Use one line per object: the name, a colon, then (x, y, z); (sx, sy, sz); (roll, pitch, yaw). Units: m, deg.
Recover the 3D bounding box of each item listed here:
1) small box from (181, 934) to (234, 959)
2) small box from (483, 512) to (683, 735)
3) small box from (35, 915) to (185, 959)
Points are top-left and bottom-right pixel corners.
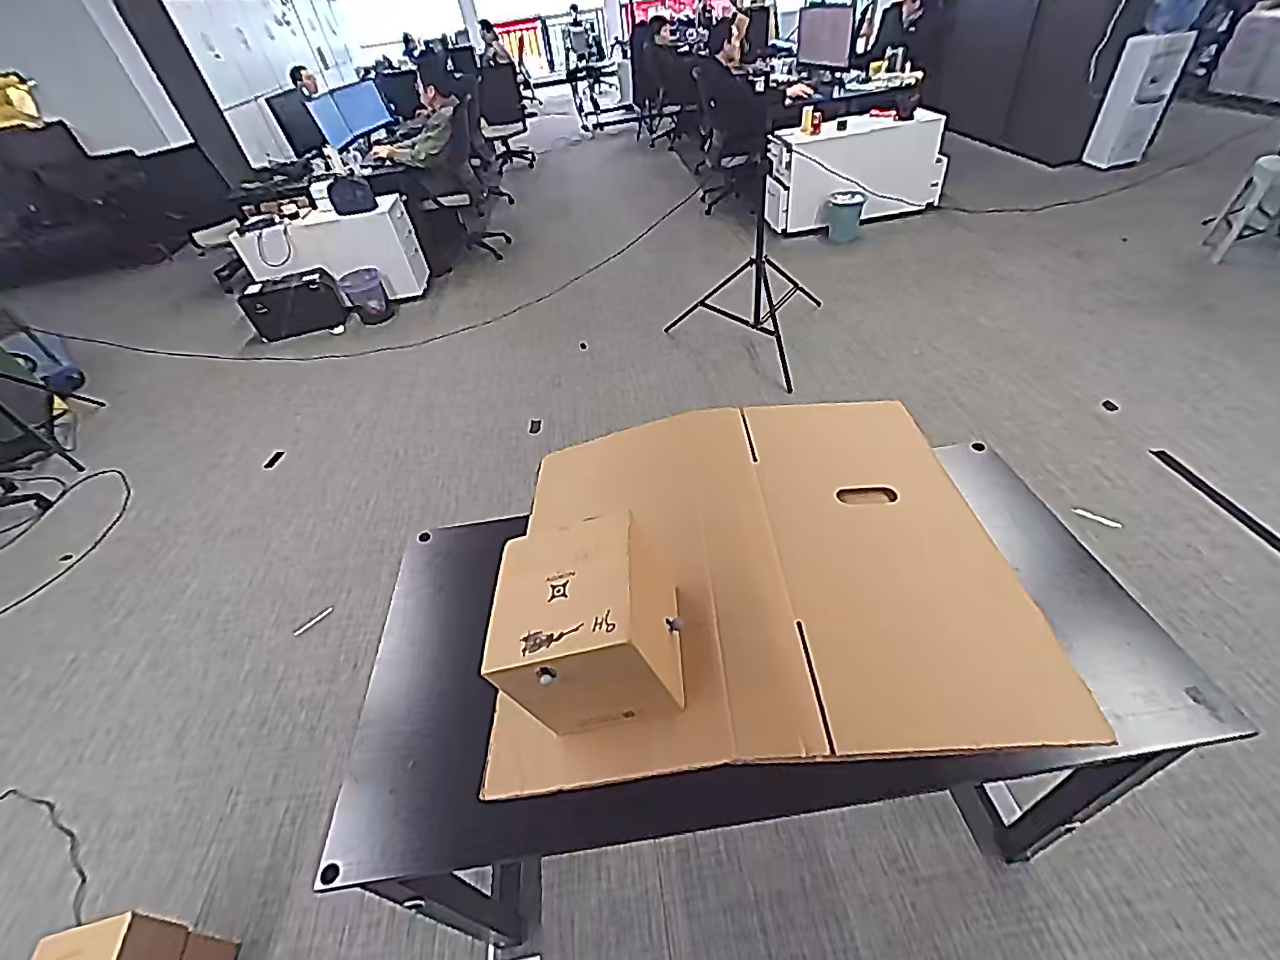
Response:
small box: (-0.995, 1.085, 1.123); (0.168, 0.176, 0.179); (-12, 43, -3)
small box: (-0.055, 0.171, 0.636); (0.168, 0.176, 0.179); (-17, 41, 14)
small box: (-1.016, 0.963, 1.017); (0.168, 0.176, 0.179); (-13, 42, -6)
